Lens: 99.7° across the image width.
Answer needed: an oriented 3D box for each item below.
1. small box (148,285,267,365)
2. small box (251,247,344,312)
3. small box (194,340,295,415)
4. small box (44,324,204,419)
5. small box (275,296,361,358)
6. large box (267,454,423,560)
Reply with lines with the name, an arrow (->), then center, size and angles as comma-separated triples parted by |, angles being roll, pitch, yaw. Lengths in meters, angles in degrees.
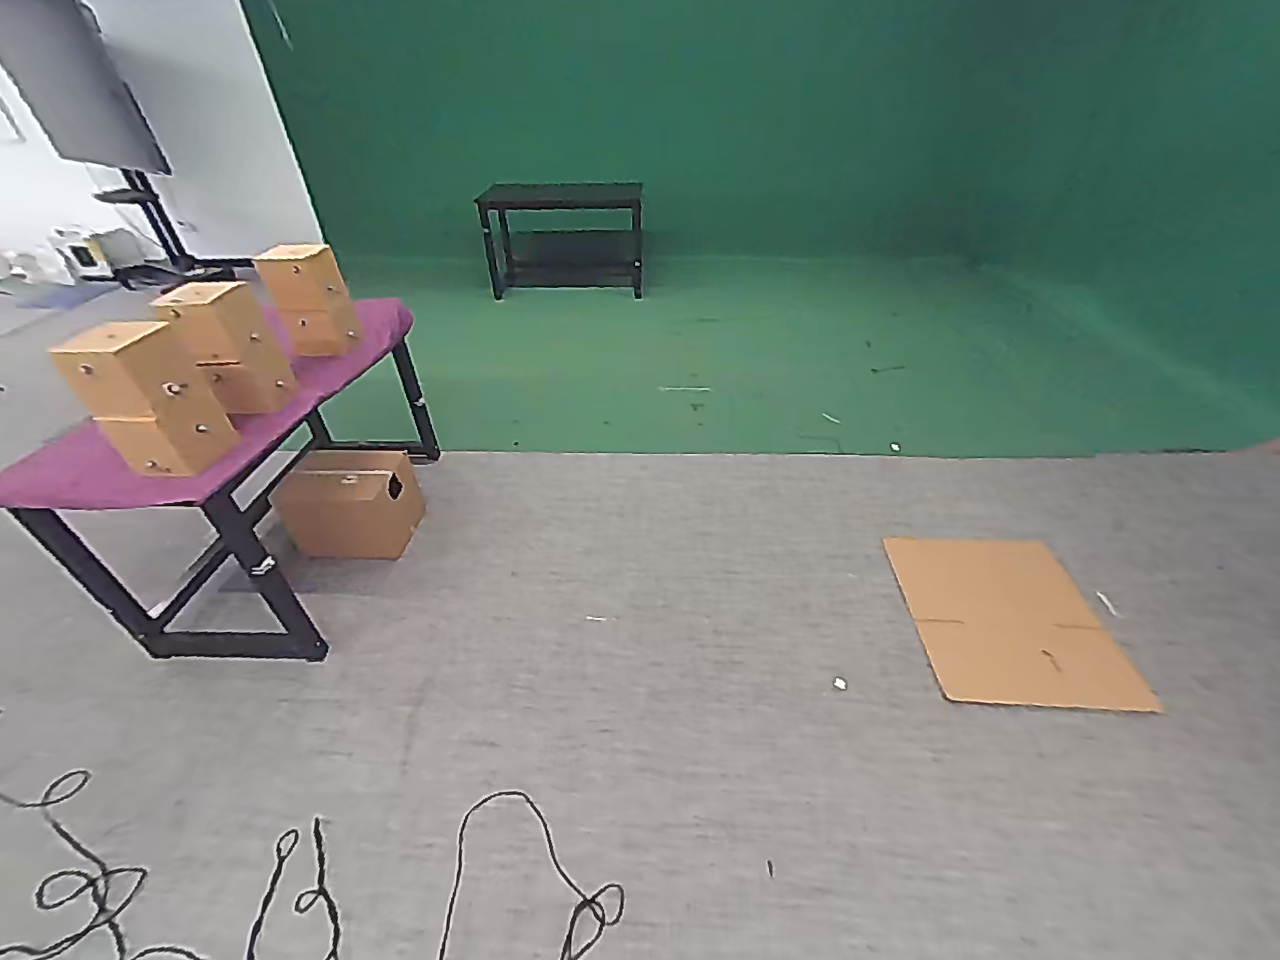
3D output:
small box -> -1.180, -0.430, 1.499 | 0.168, 0.176, 0.179 | -2, 37, 2
small box -> -1.138, -0.670, 1.813 | 0.179, 0.176, 0.168 | 1, 38, 2
small box -> -1.177, -0.302, 1.600 | 0.179, 0.176, 0.168 | -1, 38, 2
small box -> -1.201, -0.256, 1.275 | 0.179, 0.176, 0.168 | 2, 39, 5
small box -> -1.130, -0.541, 1.911 | 0.179, 0.176, 0.168 | 1, 38, 3
large box -> -1.149, 0.107, 2.157 | 0.408, 0.320, 0.320 | 1, 39, 2
